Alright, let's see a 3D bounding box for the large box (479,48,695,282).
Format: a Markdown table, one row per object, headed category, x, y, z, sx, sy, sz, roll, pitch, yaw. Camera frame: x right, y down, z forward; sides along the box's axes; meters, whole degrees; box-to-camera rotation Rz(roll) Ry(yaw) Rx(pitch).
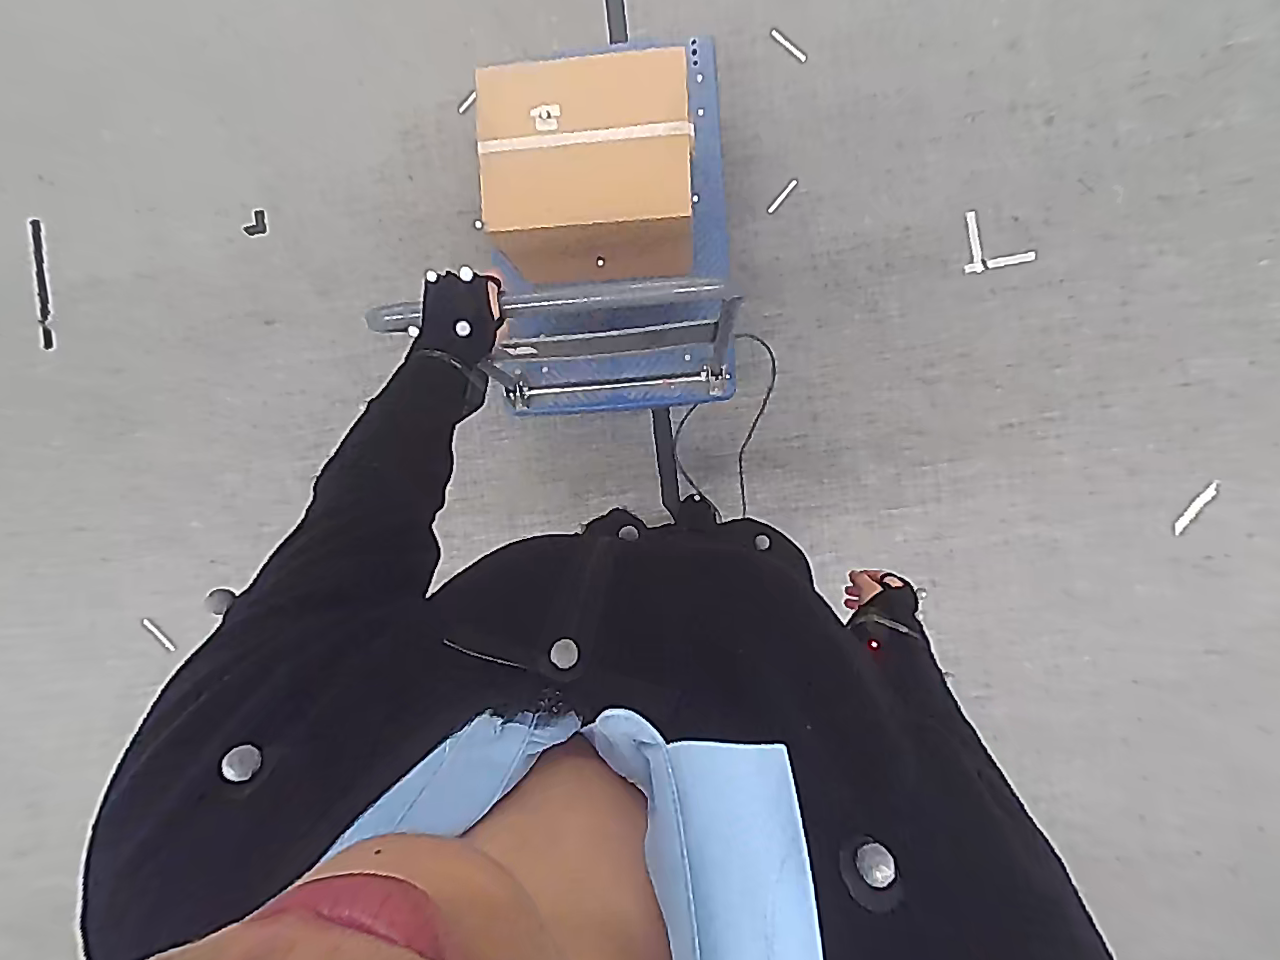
| category | x | y | z | sx | sy | sz | roll | pitch | yaw |
| --- | --- | --- | --- | --- | --- | --- | --- | --- | --- |
| large box | -0.091 | -0.647 | 1.178 | 0.408 | 0.320 | 0.320 | -2 | 90 | 7 |
